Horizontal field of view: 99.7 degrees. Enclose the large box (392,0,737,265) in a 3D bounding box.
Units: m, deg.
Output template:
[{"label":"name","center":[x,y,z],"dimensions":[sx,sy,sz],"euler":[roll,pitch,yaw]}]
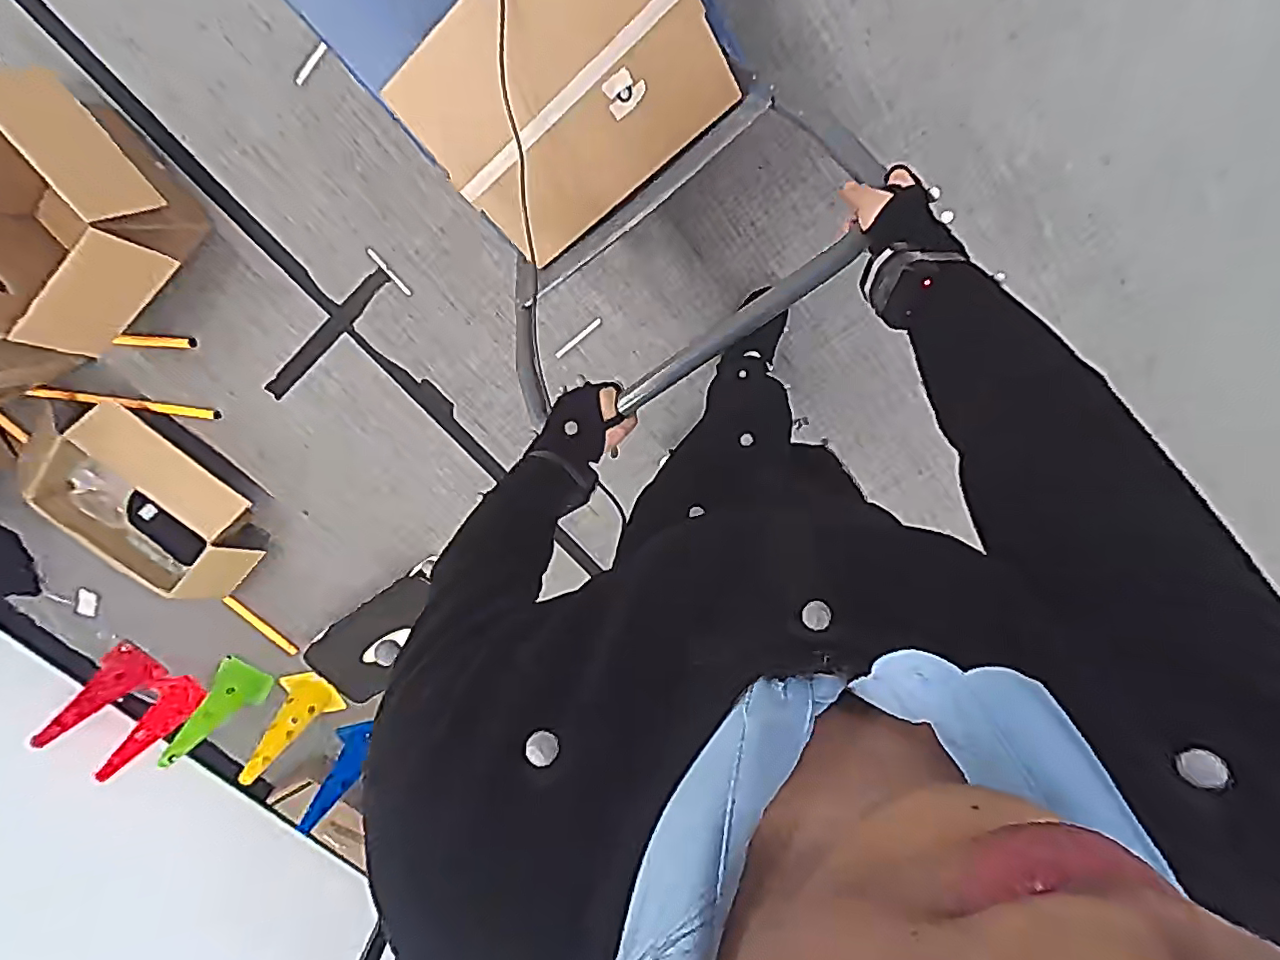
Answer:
[{"label":"large box","center":[-0.121,-0.645,0.876],"dimensions":[0.408,0.320,0.320],"euler":[-34,129,19]}]
